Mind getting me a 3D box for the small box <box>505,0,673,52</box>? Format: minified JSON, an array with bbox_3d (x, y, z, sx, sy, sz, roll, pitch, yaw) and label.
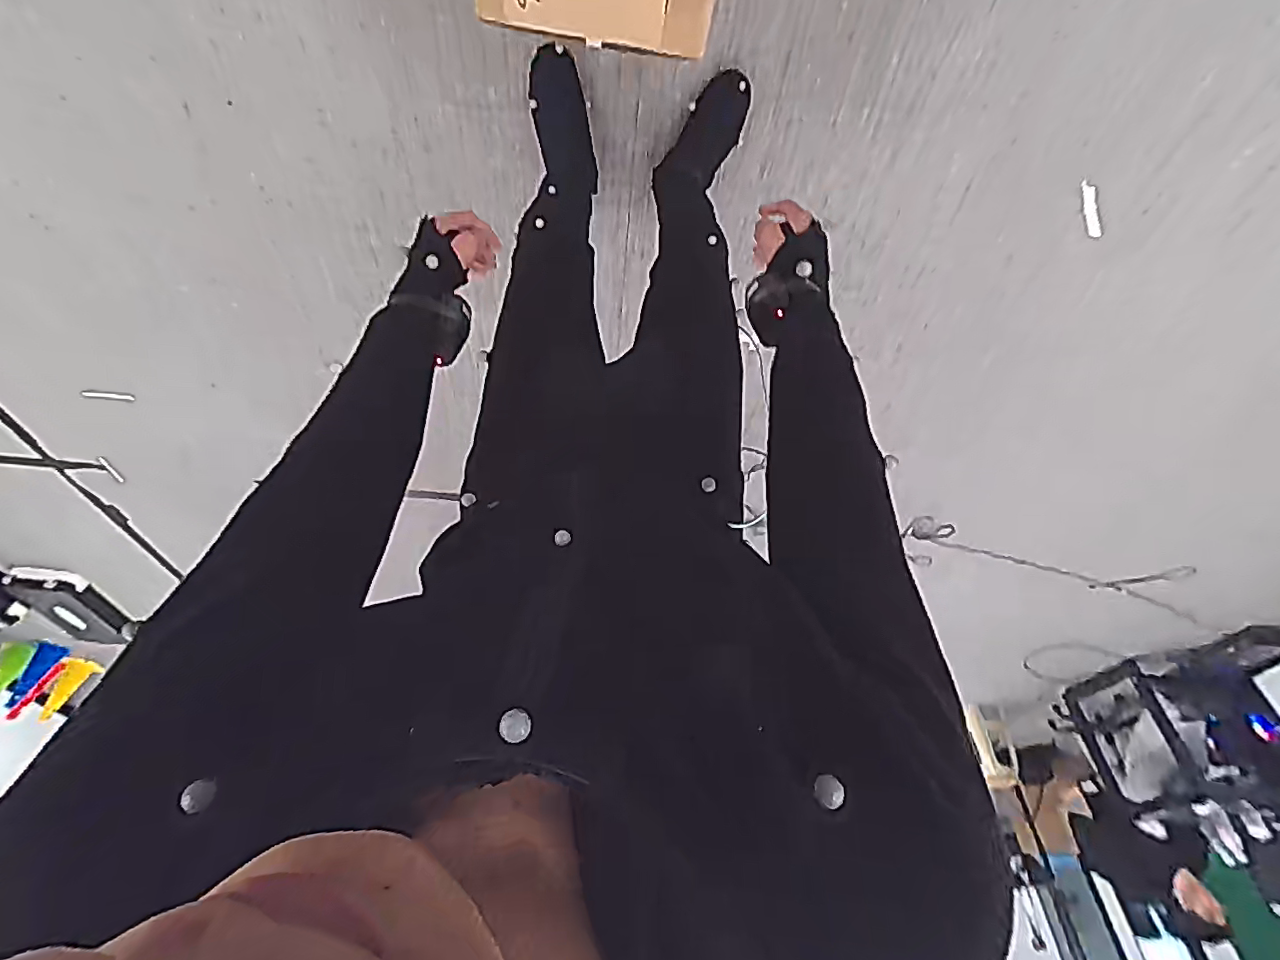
[{"bbox_3d":[-0.047,-0.595,0.579,0.179,0.176,0.168,5,140,-6],"label":"small box"}]
